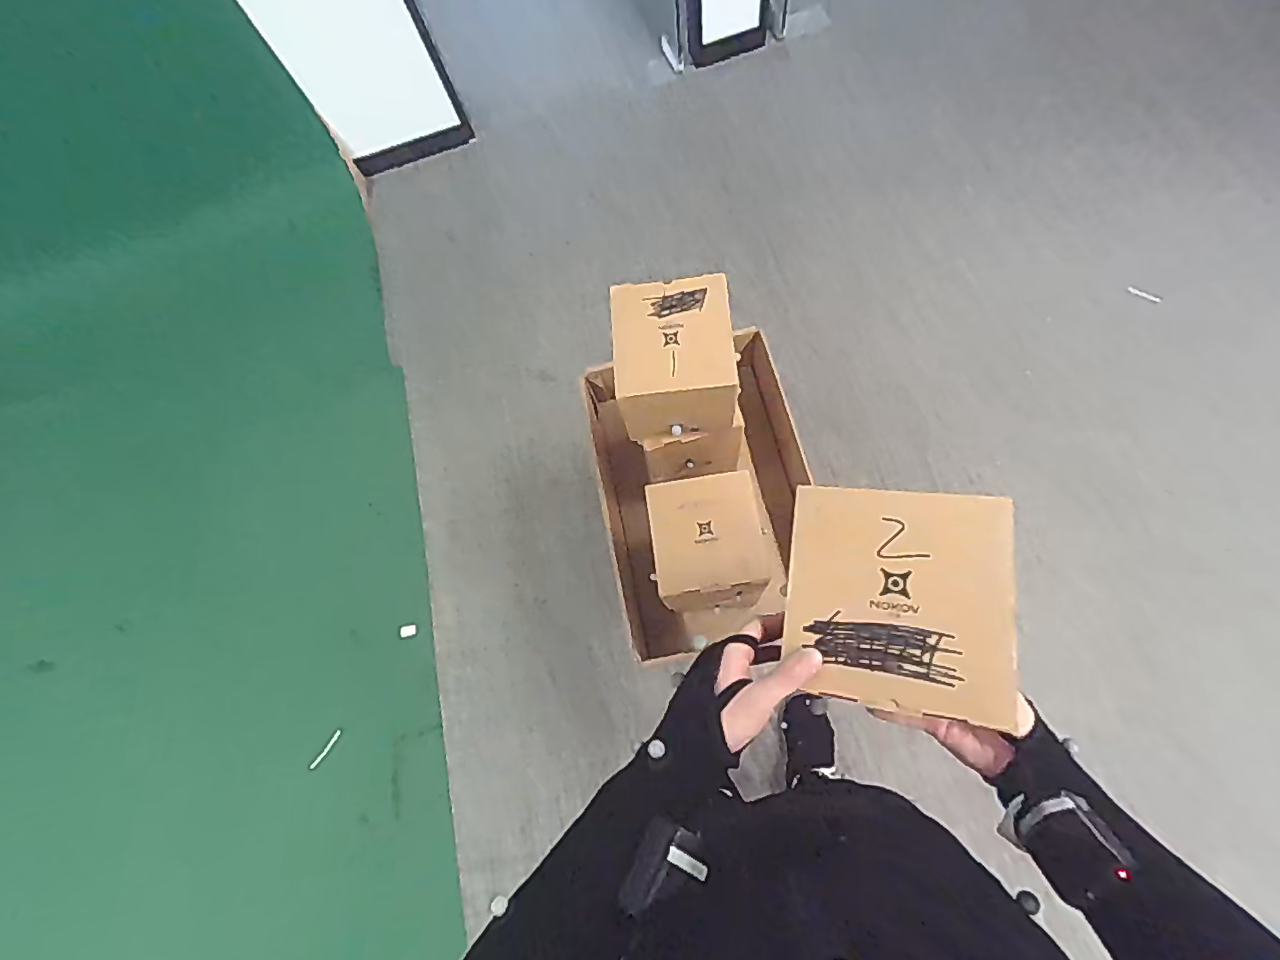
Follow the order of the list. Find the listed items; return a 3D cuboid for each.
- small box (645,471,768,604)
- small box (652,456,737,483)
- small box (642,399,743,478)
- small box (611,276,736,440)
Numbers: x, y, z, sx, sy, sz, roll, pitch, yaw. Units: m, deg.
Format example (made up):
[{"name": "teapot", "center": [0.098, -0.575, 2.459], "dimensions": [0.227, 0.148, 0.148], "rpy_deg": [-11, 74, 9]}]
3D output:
[{"name": "small box", "center": [0.107, 0.103, 0.882], "dimensions": [0.168, 0.176, 0.179], "rpy_deg": [-8, 69, 4]}, {"name": "small box", "center": [0.097, -0.076, 1.122], "dimensions": [0.168, 0.176, 0.179], "rpy_deg": [-14, 71, 4]}, {"name": "small box", "center": [0.077, -0.123, 0.968], "dimensions": [0.168, 0.176, 0.179], "rpy_deg": [-14, 72, 3]}, {"name": "small box", "center": [0.050, -0.175, 0.814], "dimensions": [0.168, 0.176, 0.179], "rpy_deg": [-5, 73, 6]}]
